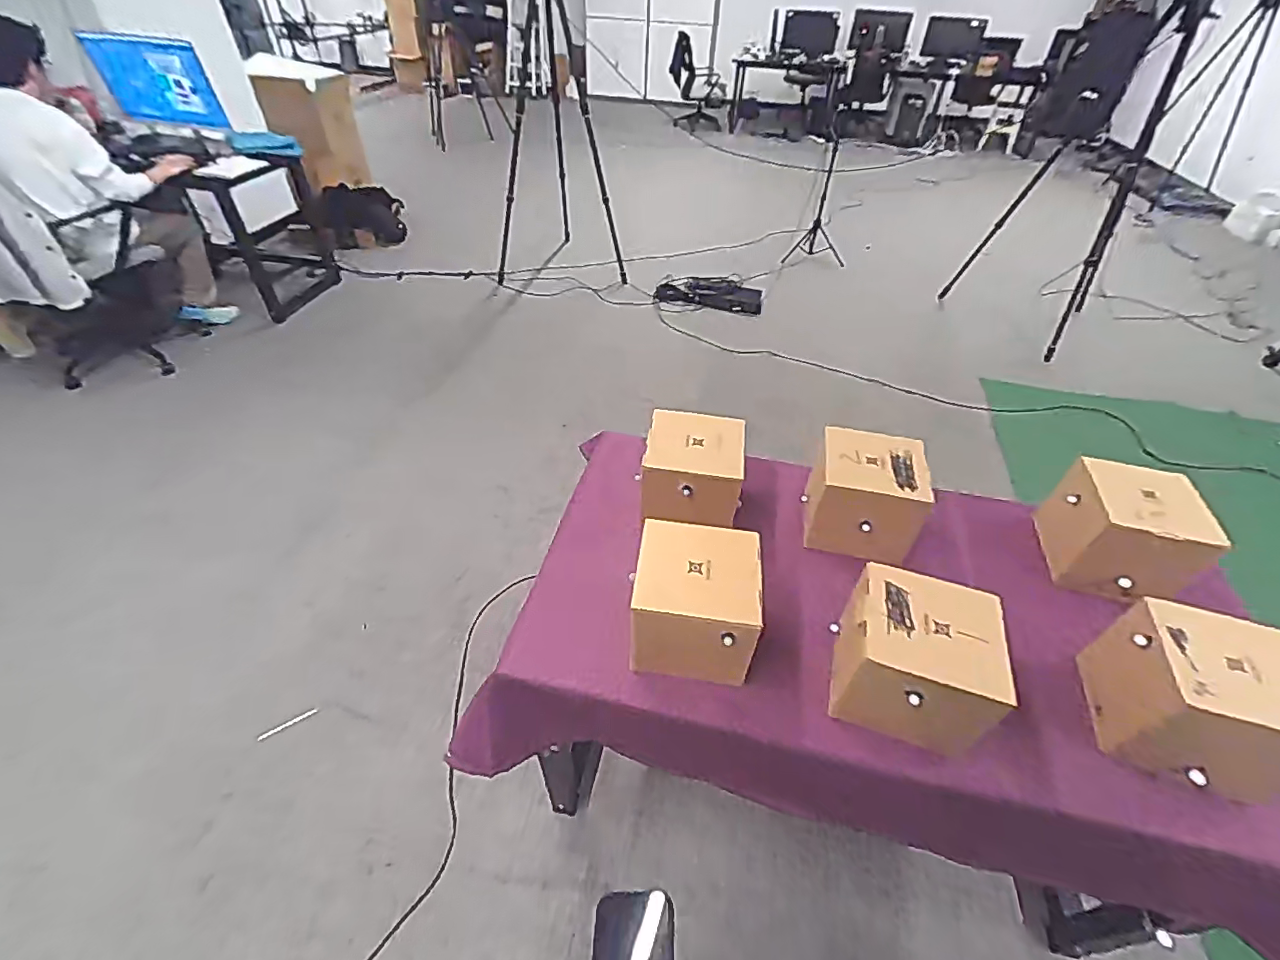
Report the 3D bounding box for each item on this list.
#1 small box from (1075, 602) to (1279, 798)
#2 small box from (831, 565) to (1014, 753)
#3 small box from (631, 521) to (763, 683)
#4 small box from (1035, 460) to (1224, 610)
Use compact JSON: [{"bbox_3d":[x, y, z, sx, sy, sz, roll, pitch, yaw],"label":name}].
[{"bbox_3d":[0.750,0.301,0.736,0.179,0.176,0.168,16,44,13],"label":"small box"},{"bbox_3d":[0.383,0.255,0.765,0.179,0.176,0.168,16,45,12],"label":"small box"},{"bbox_3d":[0.083,0.187,0.822,0.179,0.176,0.168,8,43,3],"label":"small box"},{"bbox_3d":[0.840,0.097,0.956,0.168,0.176,0.179,13,45,11],"label":"small box"}]
